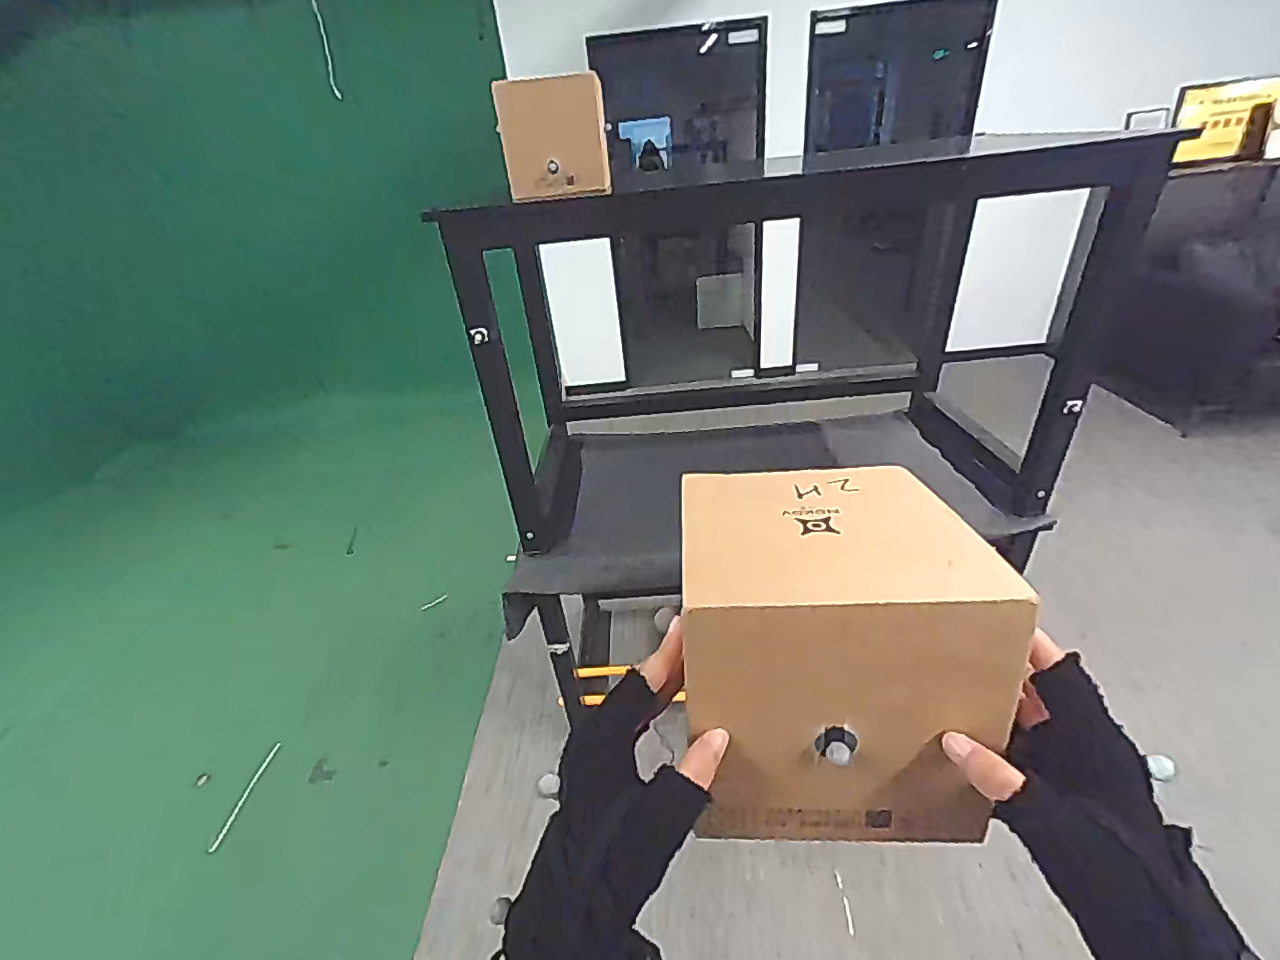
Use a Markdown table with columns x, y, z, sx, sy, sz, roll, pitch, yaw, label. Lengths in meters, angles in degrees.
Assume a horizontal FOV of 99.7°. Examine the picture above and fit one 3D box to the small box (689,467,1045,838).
| x | y | z | sx | sy | sz | roll | pitch | yaw | label |
| --- | --- | --- | --- | --- | --- | --- | --- | --- | --- |
| 0.118 | 0.102 | 0.359 | 0.168 | 0.176 | 0.179 | -2 | 22 | 5 | small box |
